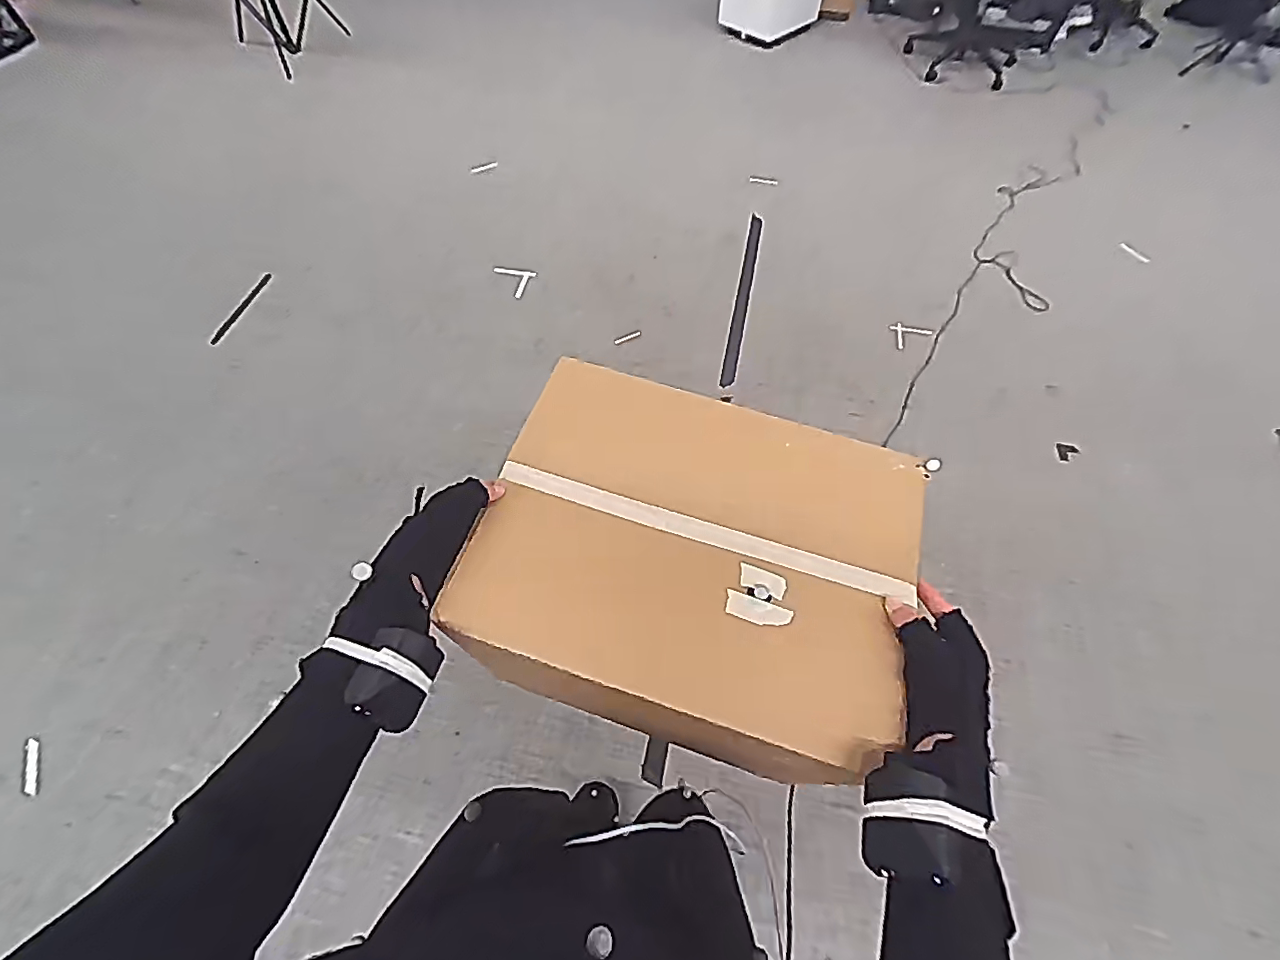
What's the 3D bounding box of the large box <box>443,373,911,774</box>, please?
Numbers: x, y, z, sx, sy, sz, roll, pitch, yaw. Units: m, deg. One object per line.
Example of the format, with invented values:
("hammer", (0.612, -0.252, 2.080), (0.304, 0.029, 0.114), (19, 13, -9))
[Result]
("large box", (0.047, 0.128, 0.653), (0.408, 0.320, 0.320), (17, 63, 5))
